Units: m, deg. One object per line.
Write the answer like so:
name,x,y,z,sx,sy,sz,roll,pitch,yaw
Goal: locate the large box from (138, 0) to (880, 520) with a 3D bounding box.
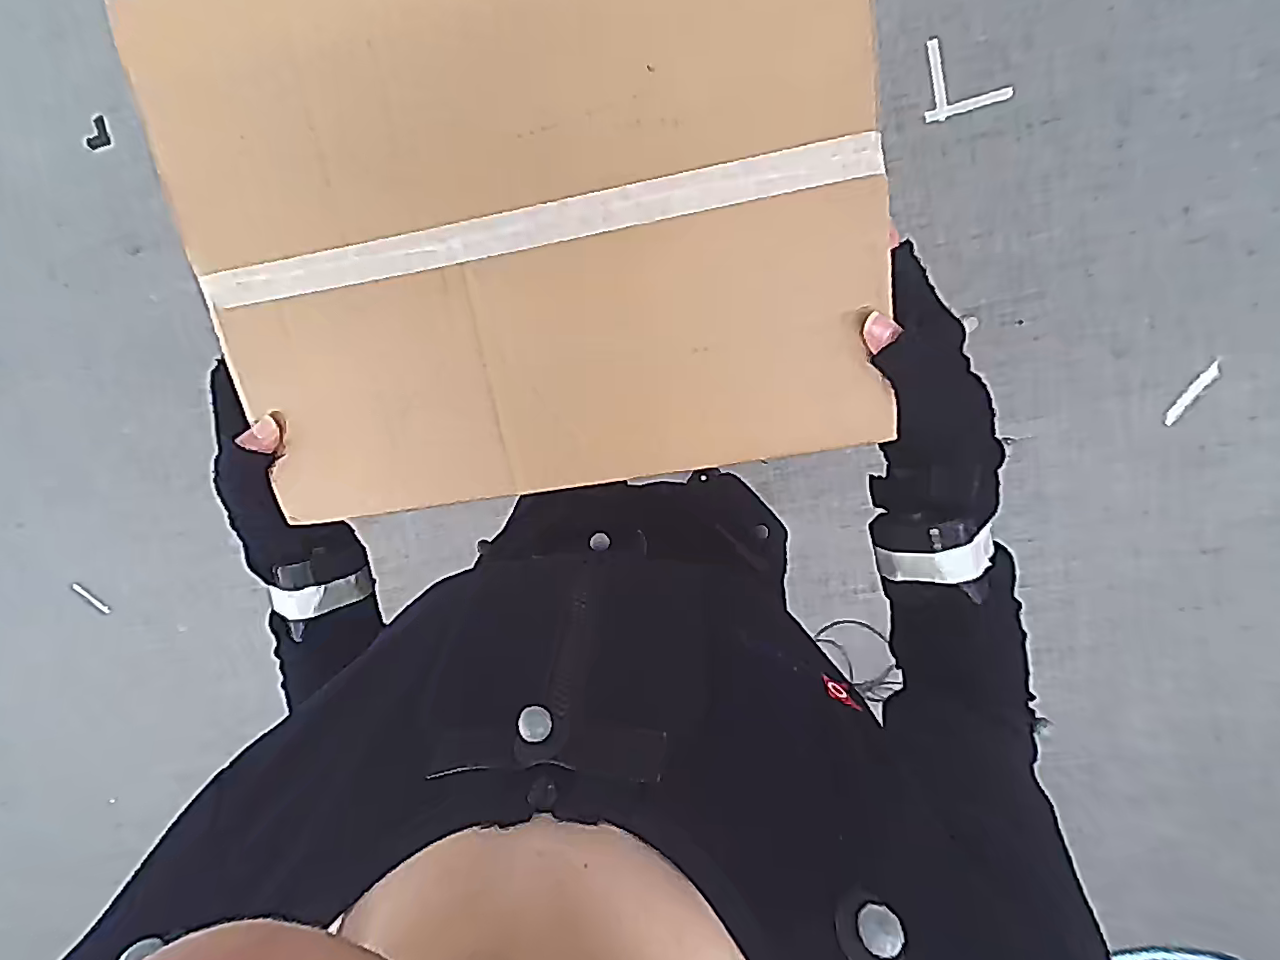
large box,-0.056,-0.187,0.466,0.408,0.320,0.320,-8,104,7
